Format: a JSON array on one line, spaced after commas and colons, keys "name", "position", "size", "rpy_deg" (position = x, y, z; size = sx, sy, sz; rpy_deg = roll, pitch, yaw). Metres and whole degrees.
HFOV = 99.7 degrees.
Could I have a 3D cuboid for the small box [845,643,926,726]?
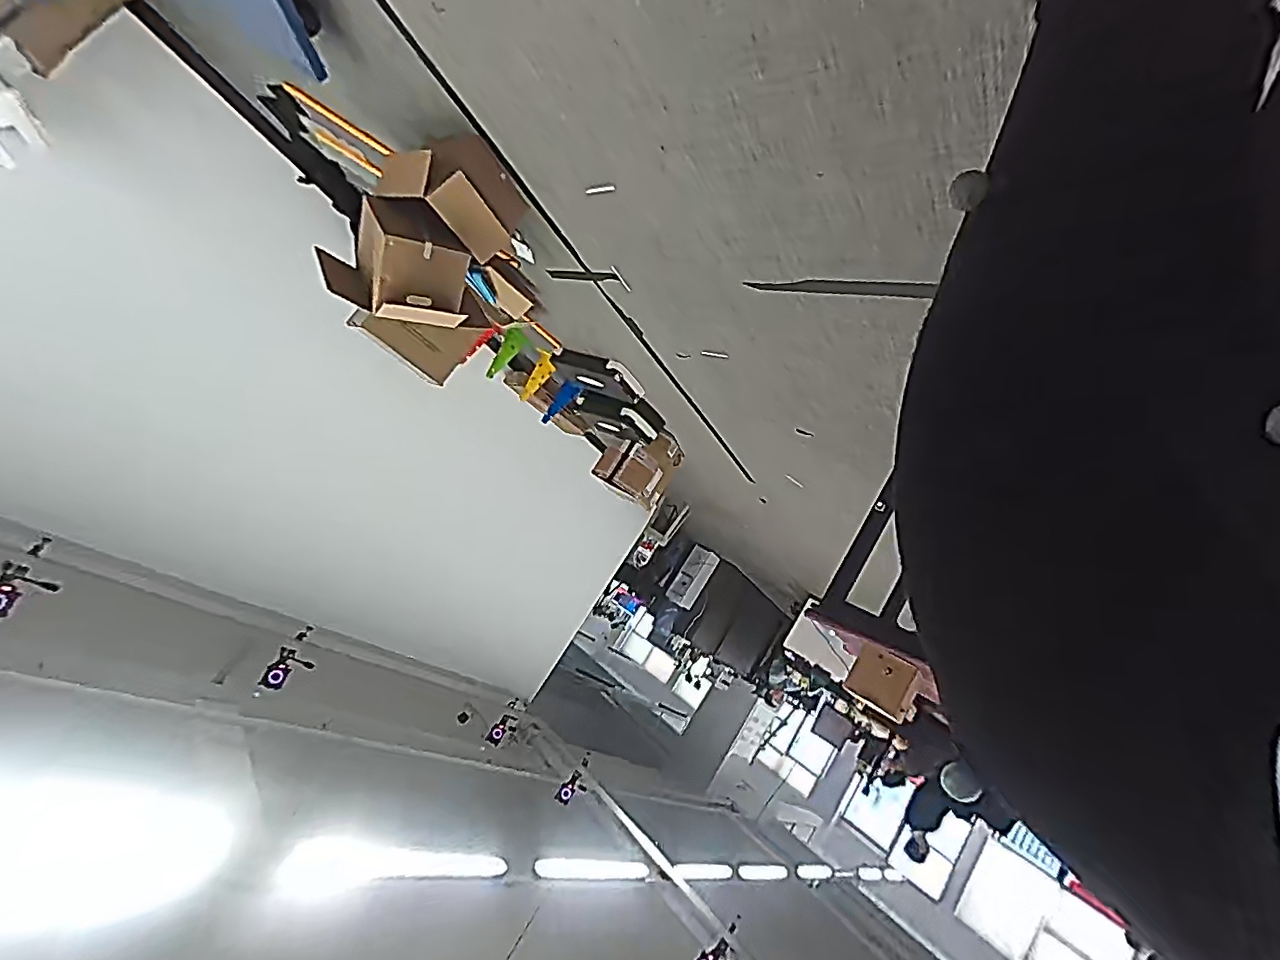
[{"name": "small box", "position": [0.777, 0.642, 1.701], "size": [0.168, 0.176, 0.179], "rpy_deg": [24, 167, 41]}]
